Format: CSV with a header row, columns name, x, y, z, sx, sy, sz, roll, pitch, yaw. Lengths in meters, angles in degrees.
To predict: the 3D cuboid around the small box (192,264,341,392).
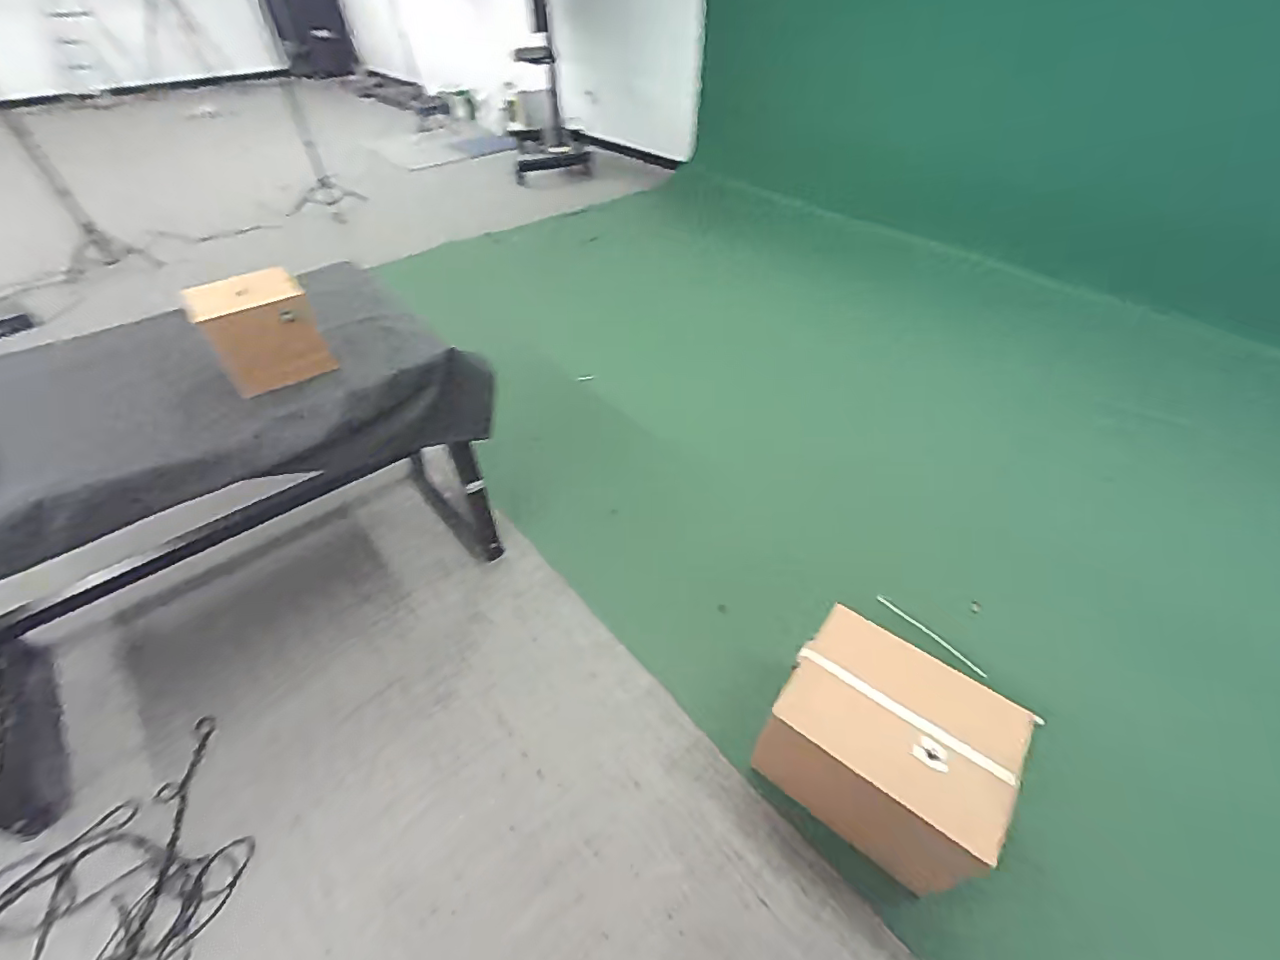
name,x,y,z,sx,sy,sz,roll,pitch,yaw
small box,-0.734,-0.301,1.075,0.179,0.176,0.168,-29,51,-26
